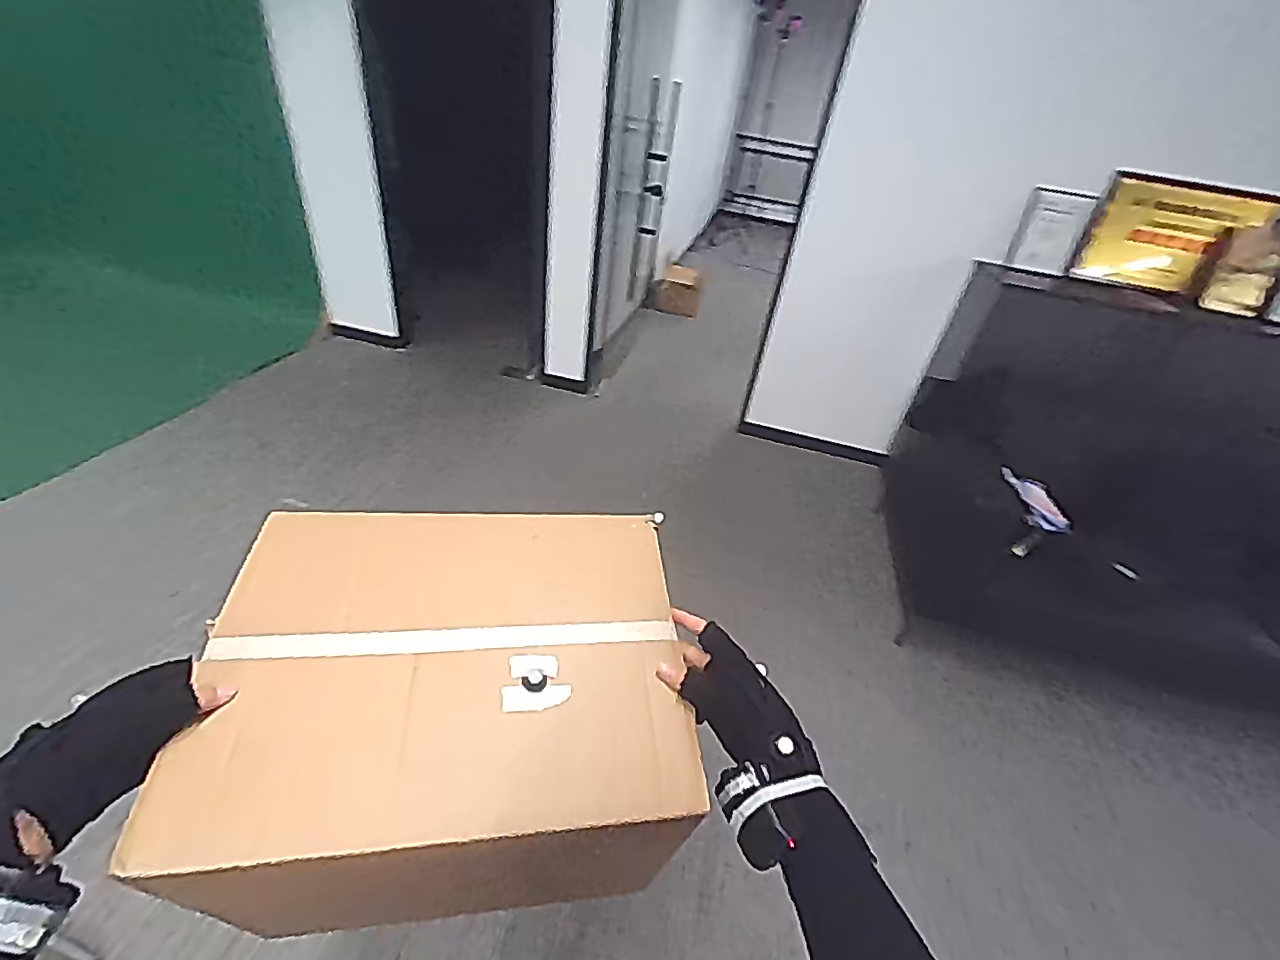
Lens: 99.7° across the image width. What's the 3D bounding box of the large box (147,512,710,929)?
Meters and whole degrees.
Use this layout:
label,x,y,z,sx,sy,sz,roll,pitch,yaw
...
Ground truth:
label,x,y,z,sx,sy,sz,roll,pitch,yaw
large box,-0.184,0.249,0.602,0.408,0.320,0.320,2,45,-13
